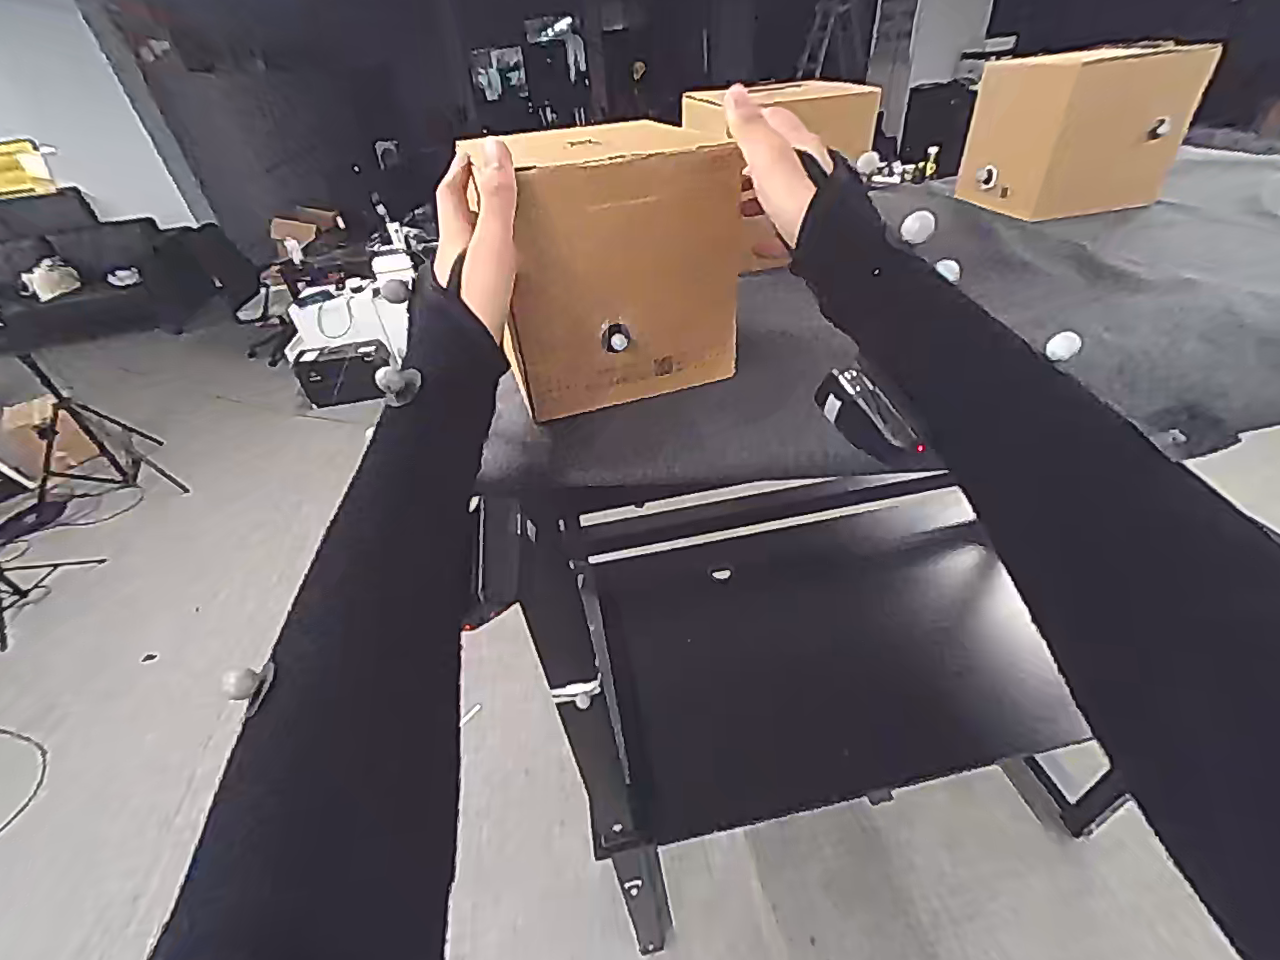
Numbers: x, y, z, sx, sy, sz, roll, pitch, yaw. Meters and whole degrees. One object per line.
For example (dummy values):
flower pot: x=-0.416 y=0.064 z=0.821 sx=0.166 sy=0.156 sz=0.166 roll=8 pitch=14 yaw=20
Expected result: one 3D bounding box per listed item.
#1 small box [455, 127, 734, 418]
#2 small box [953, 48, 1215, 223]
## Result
small box: x=-0.040 y=-0.172 z=0.435 sx=0.168 sy=0.176 sz=0.179 roll=-16 pitch=39 yaw=-13
small box: x=0.555 y=-0.451 z=0.709 sx=0.179 sy=0.176 sz=0.168 roll=-9 pitch=37 yaw=-4
